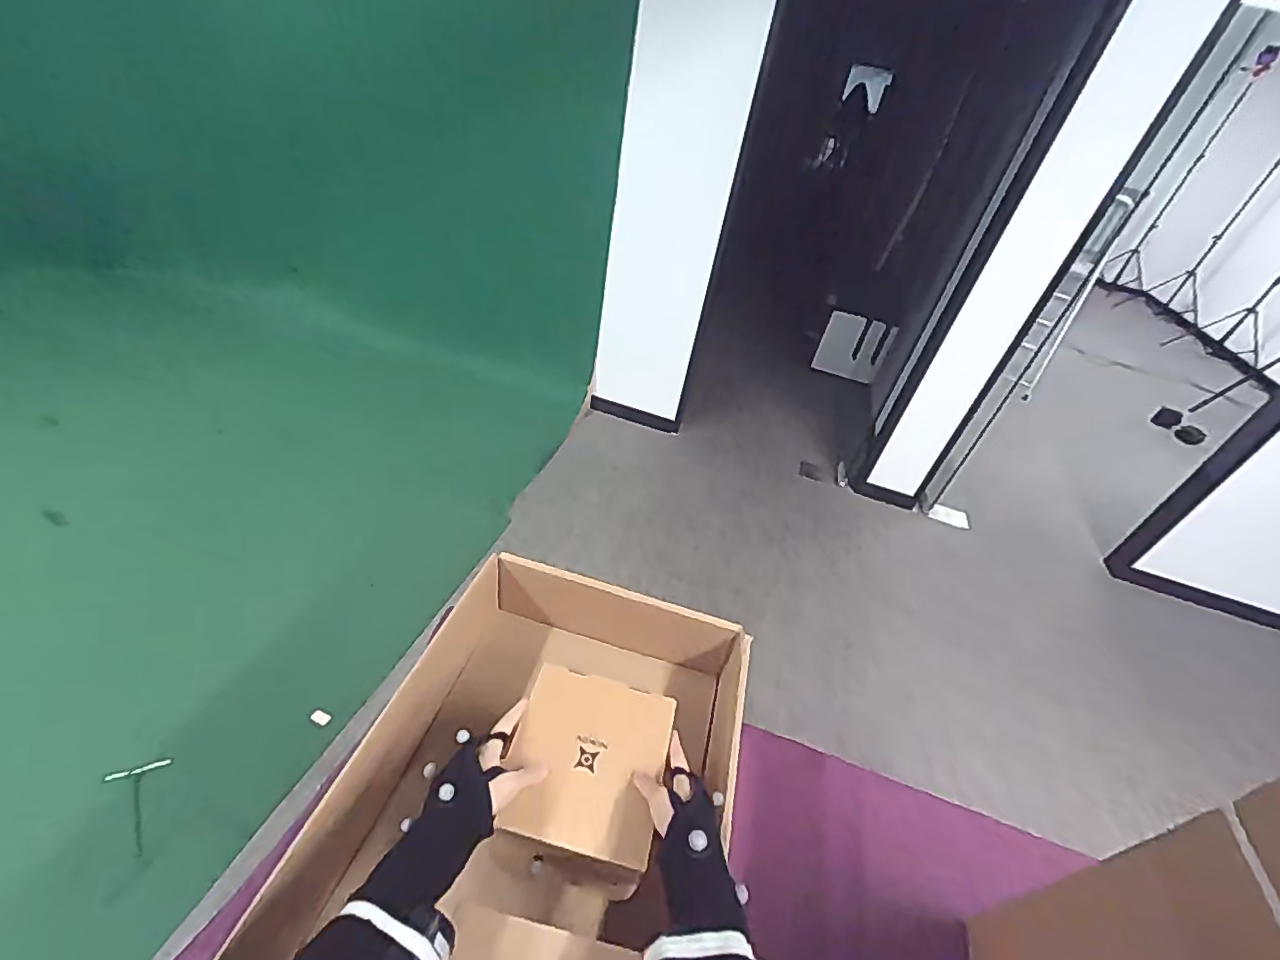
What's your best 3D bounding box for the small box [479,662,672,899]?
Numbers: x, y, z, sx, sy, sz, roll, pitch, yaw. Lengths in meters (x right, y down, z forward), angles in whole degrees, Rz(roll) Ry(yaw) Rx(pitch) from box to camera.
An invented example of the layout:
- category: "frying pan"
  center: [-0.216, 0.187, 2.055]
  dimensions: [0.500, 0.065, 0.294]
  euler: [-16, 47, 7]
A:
- category: "small box"
  center: [-0.068, 0.350, 0.629]
  dimensions: [0.168, 0.176, 0.179]
  euler: [14, 41, 5]
